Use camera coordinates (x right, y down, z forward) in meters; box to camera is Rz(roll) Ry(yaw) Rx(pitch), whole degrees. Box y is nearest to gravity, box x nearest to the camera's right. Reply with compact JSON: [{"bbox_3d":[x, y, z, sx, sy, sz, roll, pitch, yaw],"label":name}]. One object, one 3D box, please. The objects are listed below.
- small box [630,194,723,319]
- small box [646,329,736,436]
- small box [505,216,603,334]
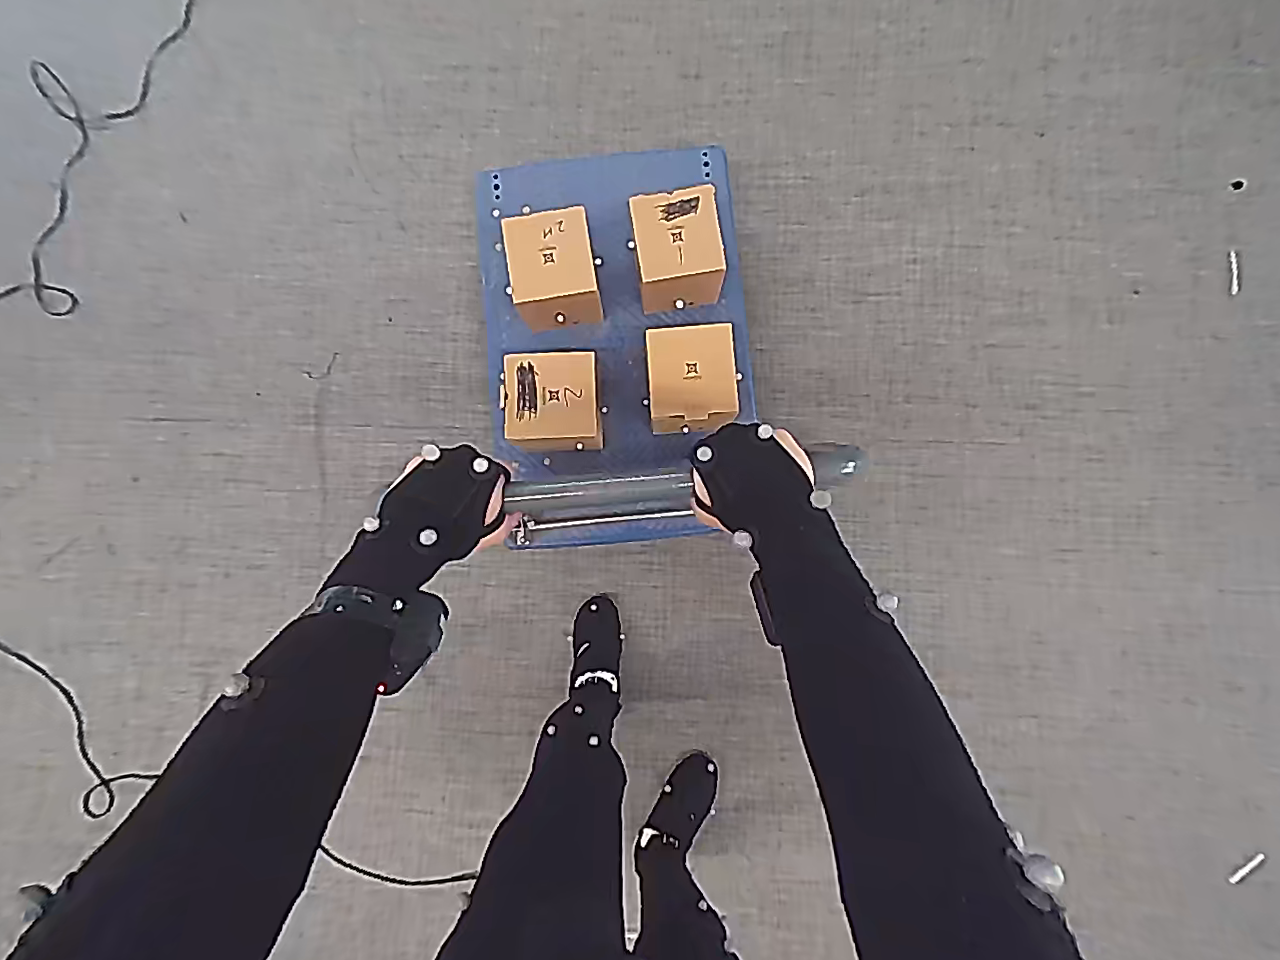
[{"bbox_3d":[0.073,-0.464,1.143,0.168,0.176,0.179,-9,86,1],"label":"small box"},{"bbox_3d":[0.099,-0.196,1.123,0.168,0.176,0.179,-5,86,1],"label":"small box"},{"bbox_3d":[-0.175,-0.423,1.146,0.168,0.176,0.179,-9,85,0],"label":"small box"}]
